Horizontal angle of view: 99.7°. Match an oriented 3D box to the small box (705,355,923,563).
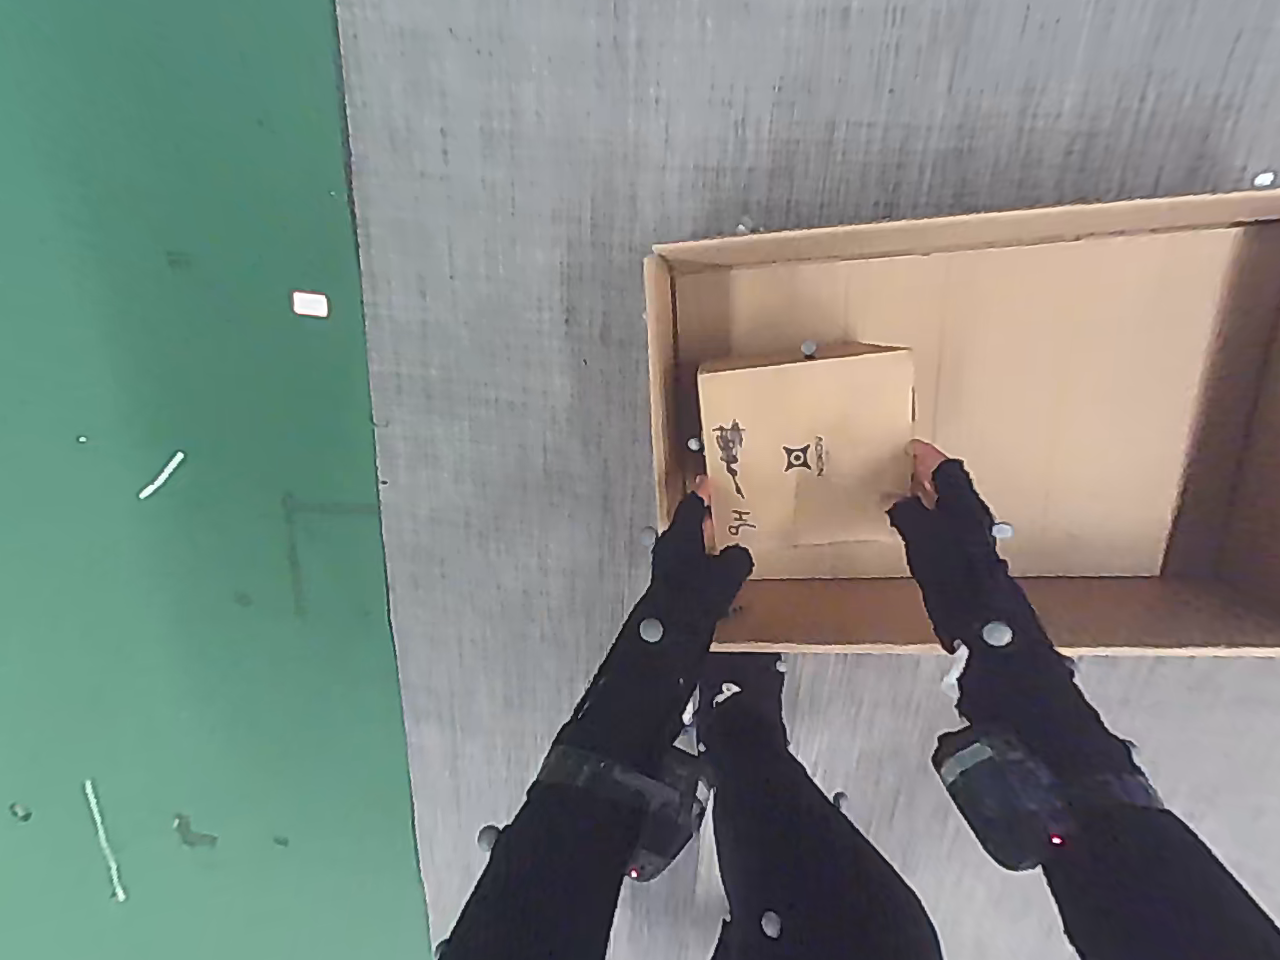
[{"bbox_3d":[0.159,-0.031,0.542,0.179,0.176,0.168,-5,105,8],"label":"small box"}]
